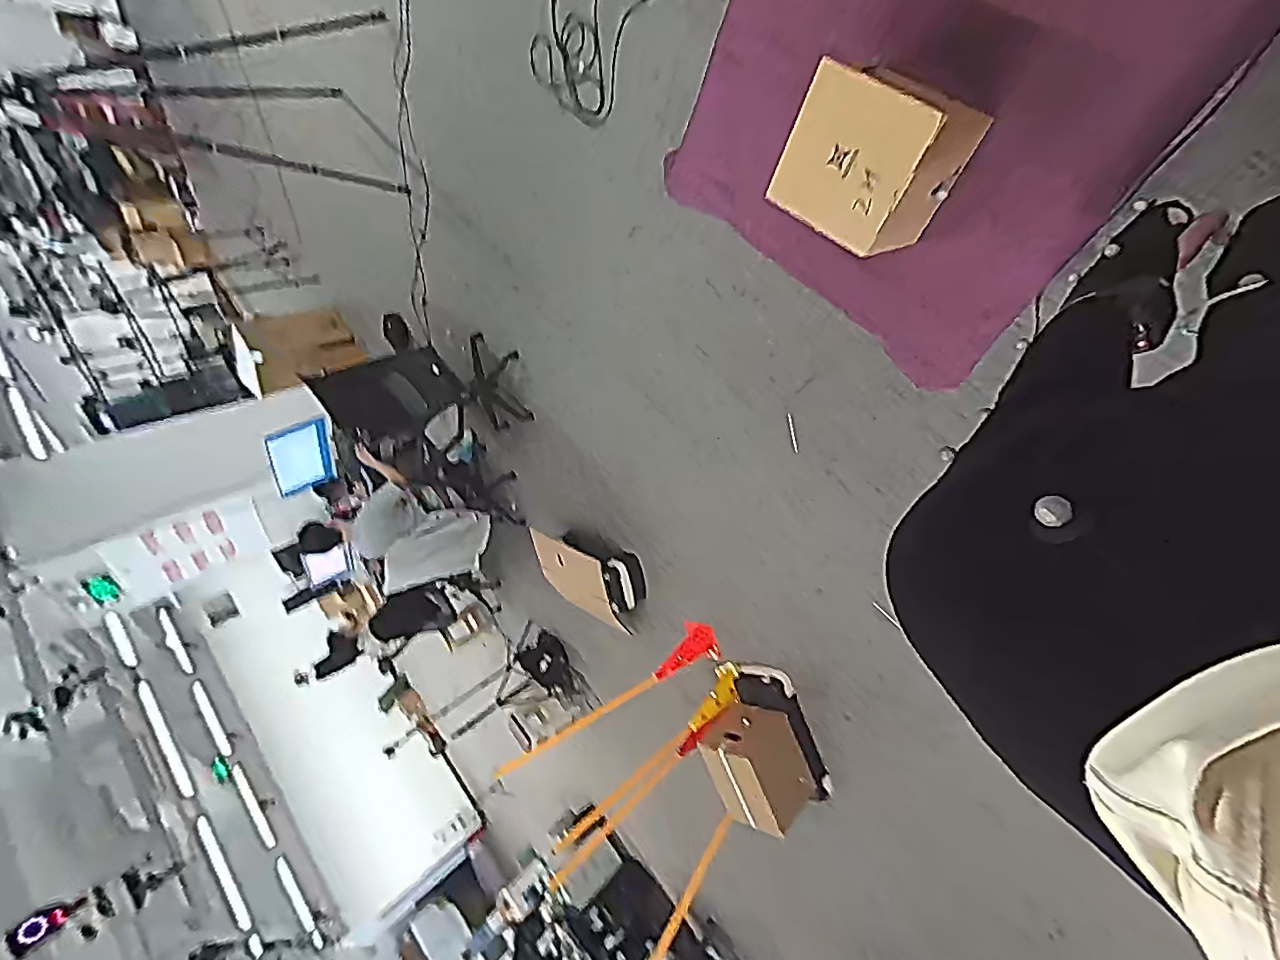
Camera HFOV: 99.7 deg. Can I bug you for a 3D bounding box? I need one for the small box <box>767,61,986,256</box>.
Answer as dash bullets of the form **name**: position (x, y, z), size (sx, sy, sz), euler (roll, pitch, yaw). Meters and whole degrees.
- **small box**: position (0.313, -0.427, 0.727), size (0.179, 0.176, 0.168), euler (45, 140, 21)
